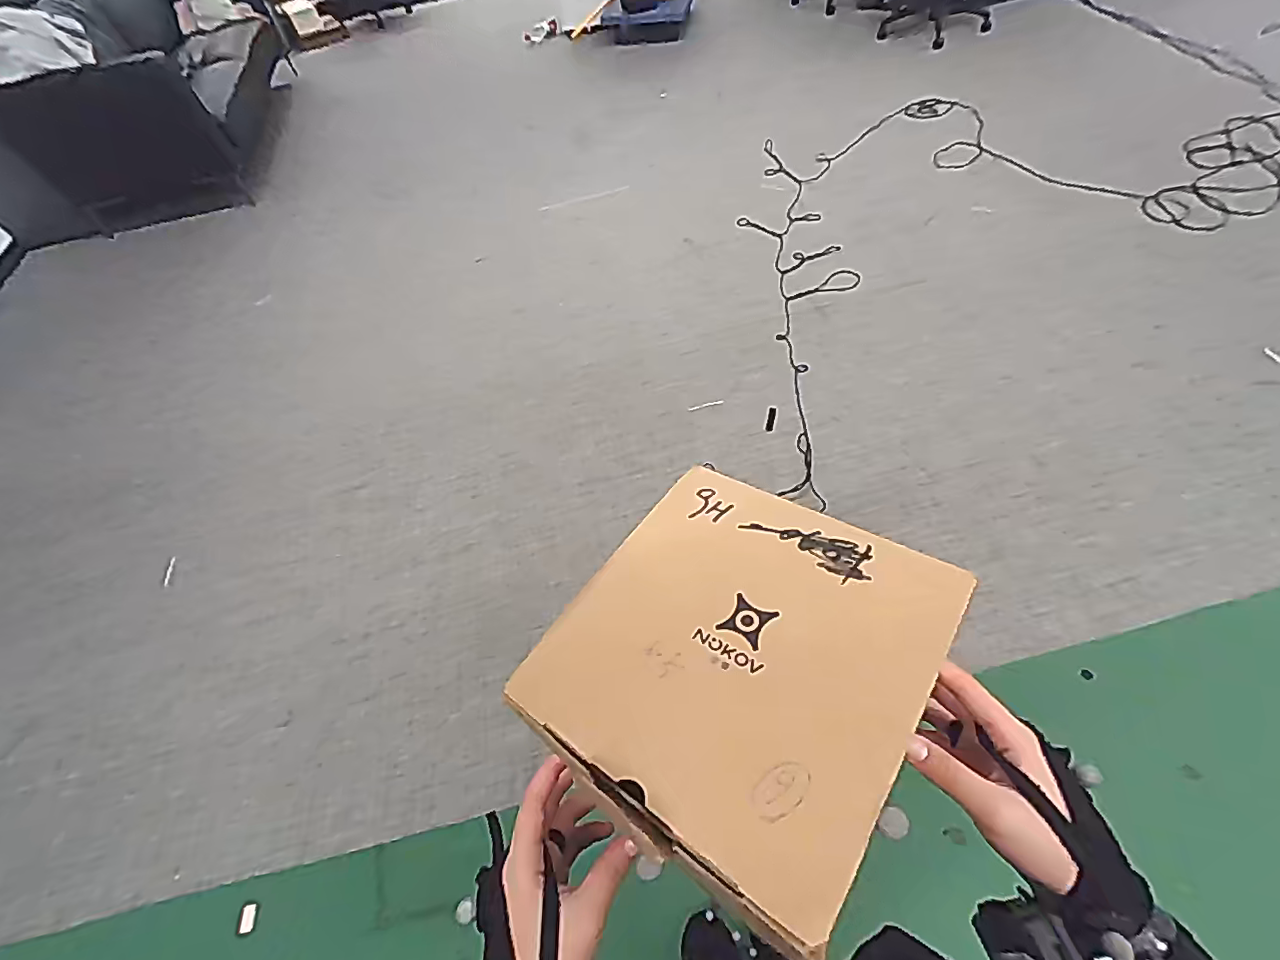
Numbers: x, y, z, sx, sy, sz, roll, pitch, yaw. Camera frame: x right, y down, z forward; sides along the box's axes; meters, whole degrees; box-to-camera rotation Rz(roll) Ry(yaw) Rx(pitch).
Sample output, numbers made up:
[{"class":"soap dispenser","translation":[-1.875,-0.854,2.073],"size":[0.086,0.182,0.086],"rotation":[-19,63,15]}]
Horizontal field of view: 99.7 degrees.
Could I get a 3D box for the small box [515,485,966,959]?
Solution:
[{"class":"small box","translation":[0.064,0.140,0.326],"size":[0.168,0.176,0.179],"rotation":[23,57,32]}]
